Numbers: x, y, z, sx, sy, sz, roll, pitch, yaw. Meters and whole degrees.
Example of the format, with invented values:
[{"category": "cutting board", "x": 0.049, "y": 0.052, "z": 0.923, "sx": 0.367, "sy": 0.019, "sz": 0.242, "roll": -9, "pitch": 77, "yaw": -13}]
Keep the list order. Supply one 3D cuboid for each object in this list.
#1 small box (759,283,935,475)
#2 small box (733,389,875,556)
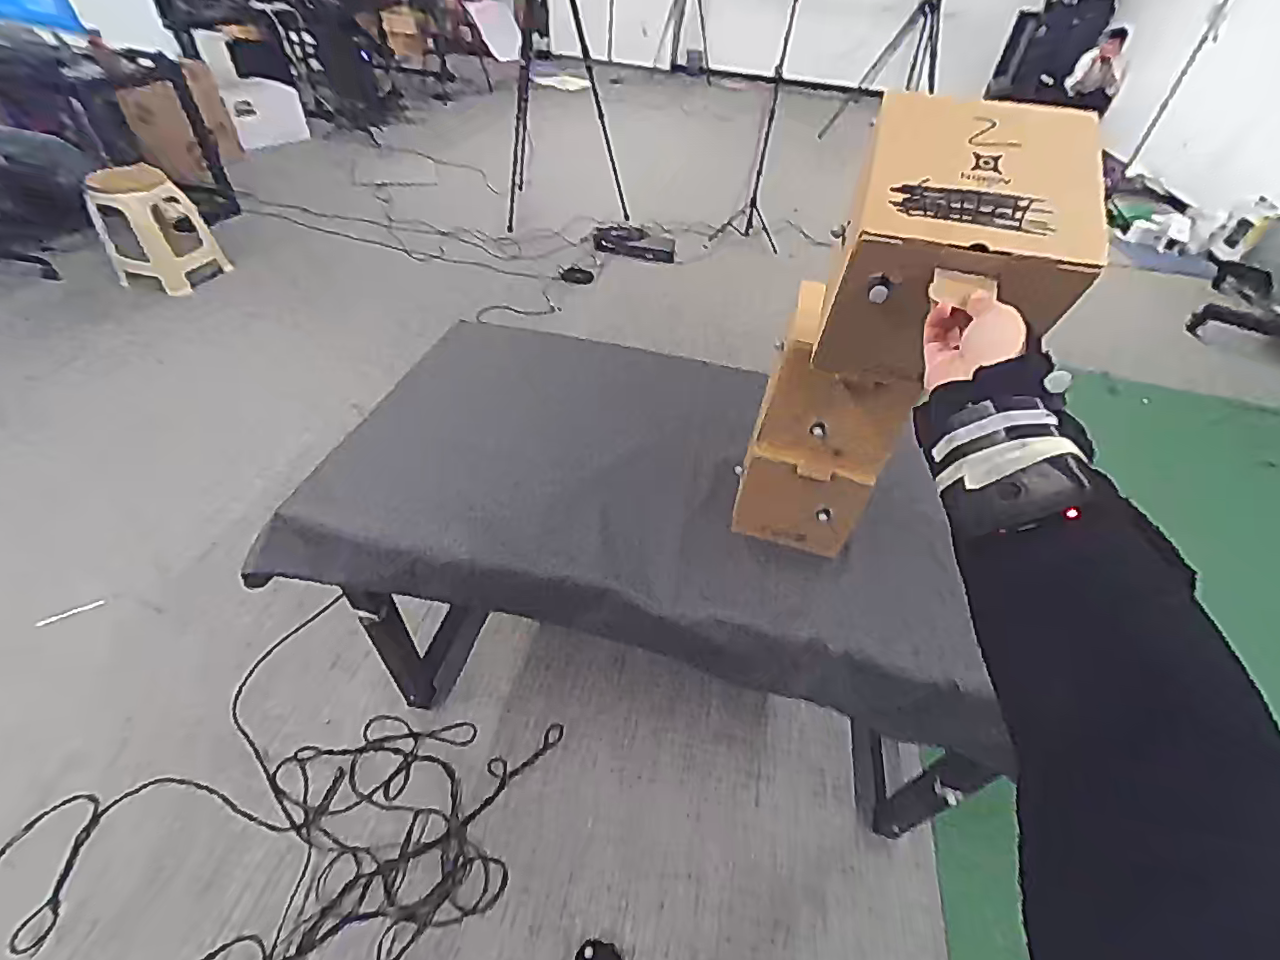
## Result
[{"category": "small box", "x": 0.267, "y": -0.134, "z": 0.727, "sx": 0.168, "sy": 0.176, "sz": 0.179, "roll": 16, "pitch": 46, "yaw": 7}, {"category": "small box", "x": 0.246, "y": -0.010, "z": 0.831, "sx": 0.168, "sy": 0.176, "sz": 0.179, "roll": 15, "pitch": 44, "yaw": 7}]
